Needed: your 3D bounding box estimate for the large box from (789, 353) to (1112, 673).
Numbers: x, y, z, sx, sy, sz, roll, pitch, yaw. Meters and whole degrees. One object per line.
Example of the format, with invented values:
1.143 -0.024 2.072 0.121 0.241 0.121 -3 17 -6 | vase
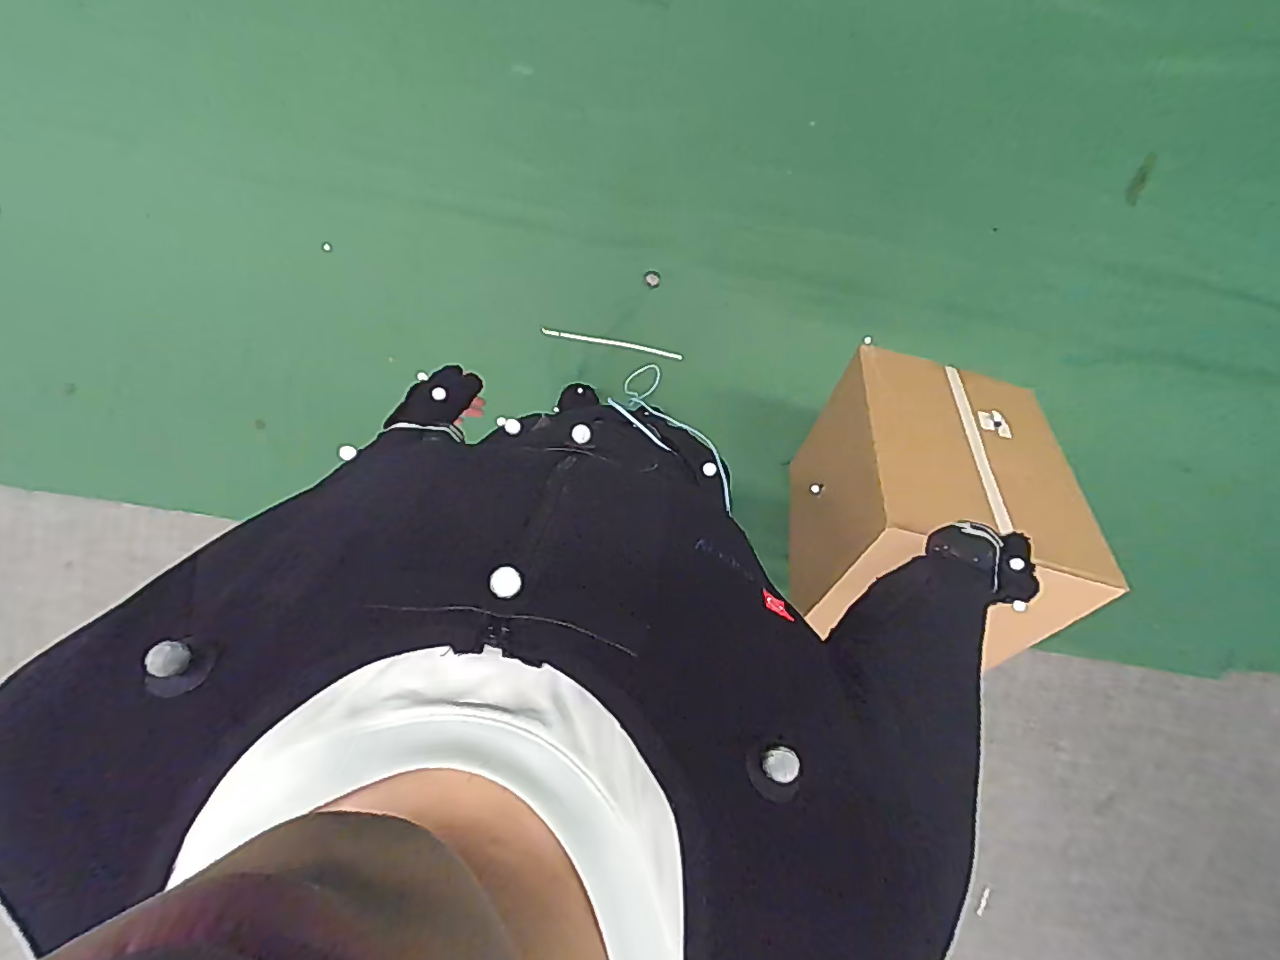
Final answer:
0.459 0.054 0.922 0.320 0.408 0.320 16 137 -1 | large box
